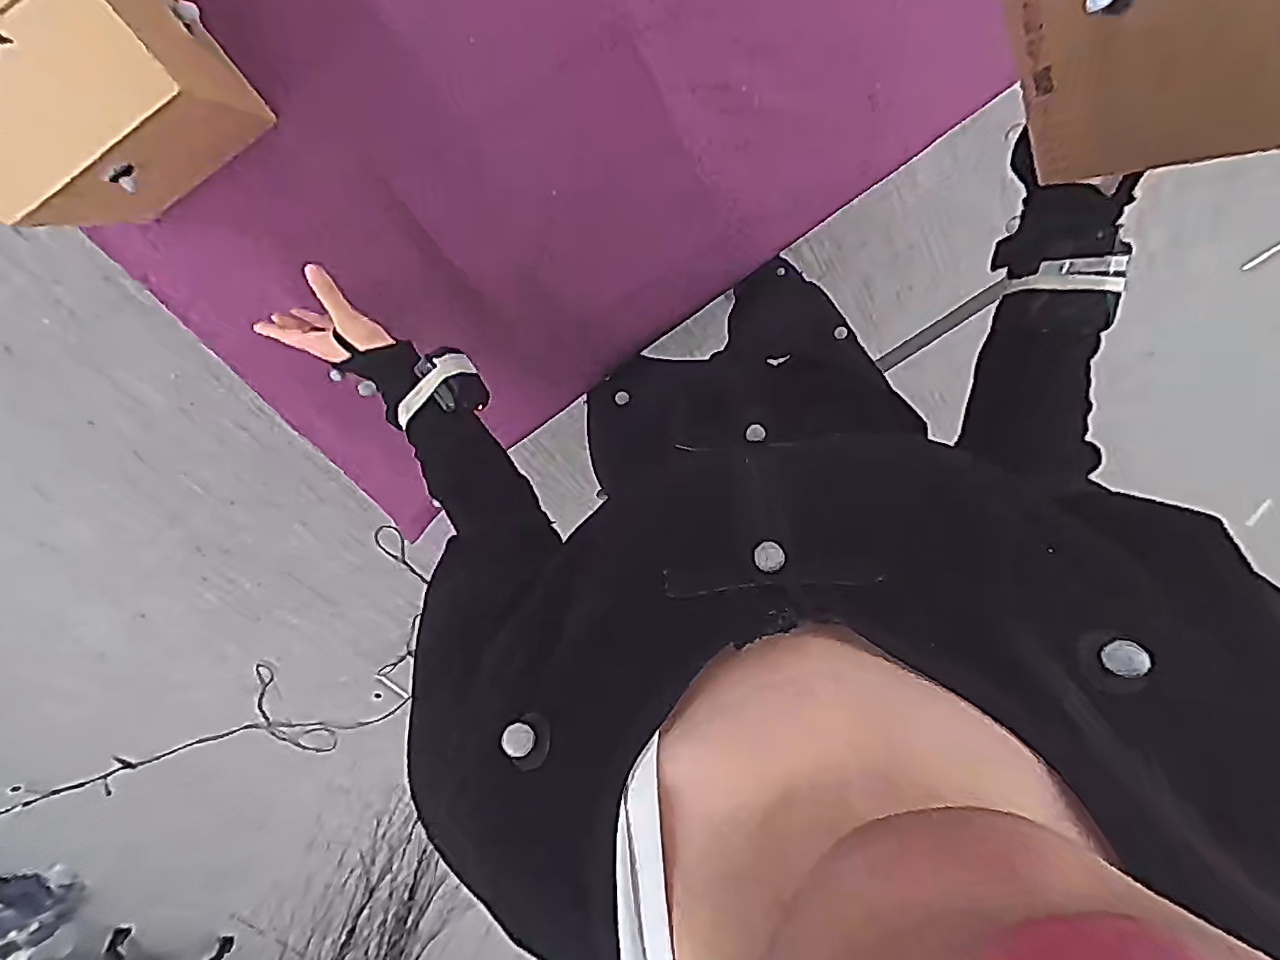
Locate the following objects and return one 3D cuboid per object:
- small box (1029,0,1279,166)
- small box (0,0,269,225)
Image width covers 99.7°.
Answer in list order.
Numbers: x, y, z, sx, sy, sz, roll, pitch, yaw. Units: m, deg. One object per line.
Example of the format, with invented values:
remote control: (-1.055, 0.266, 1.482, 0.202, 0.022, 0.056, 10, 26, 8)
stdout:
small box: (0.315, -0.274, 0.248, 0.179, 0.176, 0.168, -26, 112, 8)
small box: (-0.451, -0.326, 0.430, 0.179, 0.176, 0.168, -33, 118, 6)
